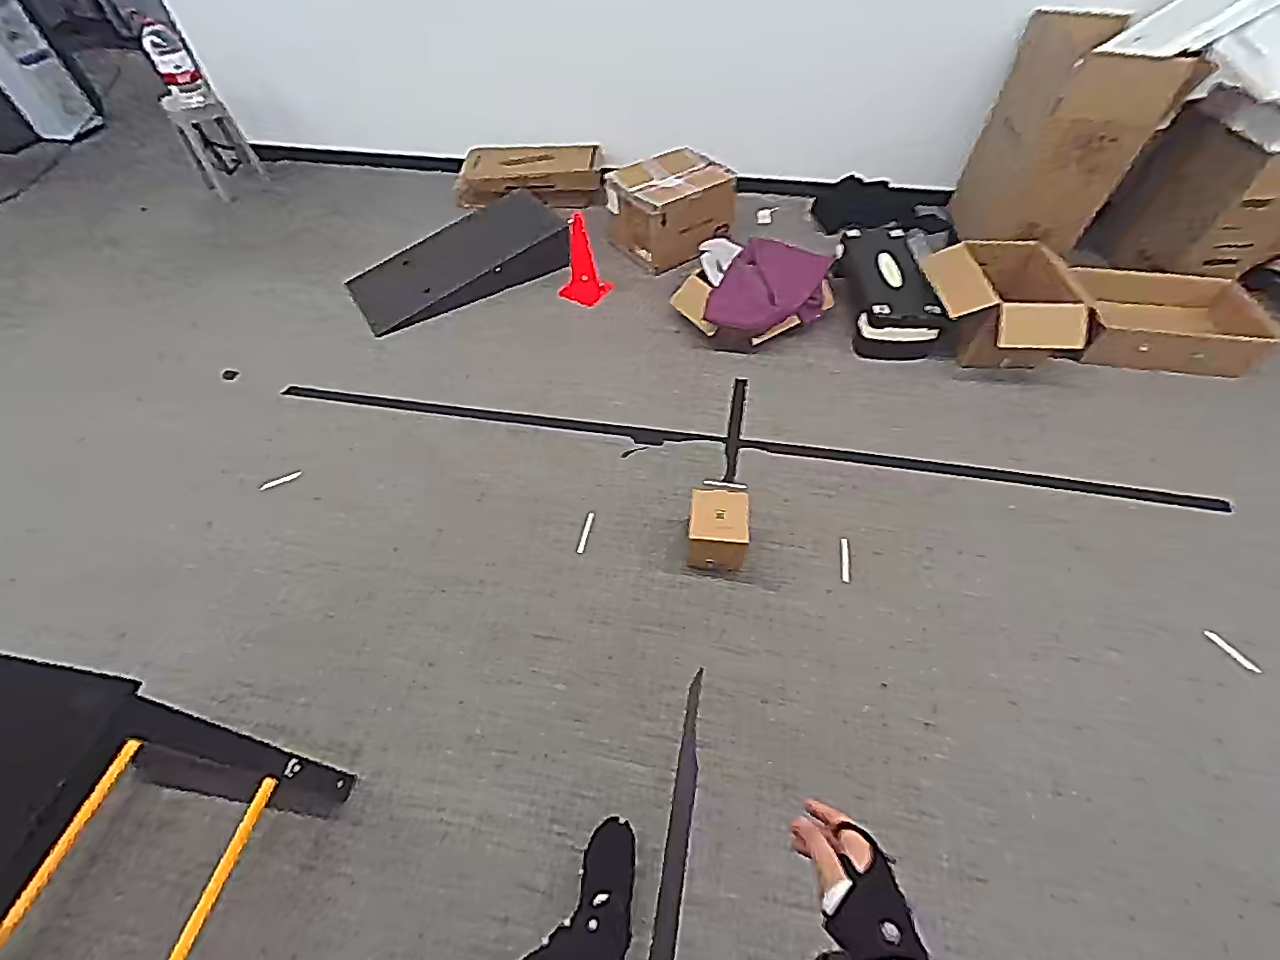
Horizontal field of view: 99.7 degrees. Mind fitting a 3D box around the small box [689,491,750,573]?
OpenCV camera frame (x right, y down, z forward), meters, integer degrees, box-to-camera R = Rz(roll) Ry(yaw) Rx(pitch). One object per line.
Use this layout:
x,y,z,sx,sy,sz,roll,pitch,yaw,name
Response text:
0.233,0.156,1.610,0.168,0.176,0.179,4,54,5,small box
